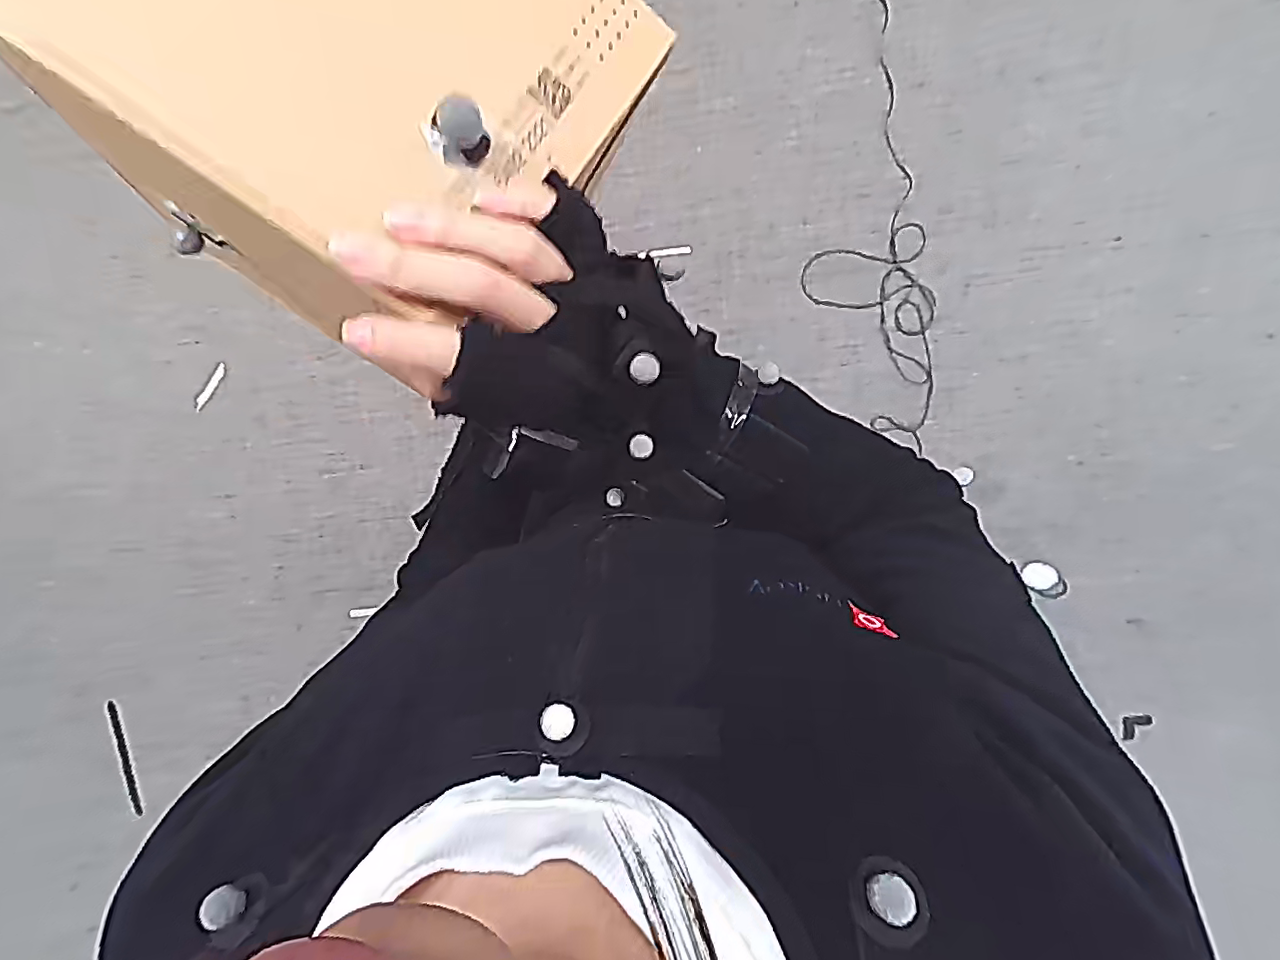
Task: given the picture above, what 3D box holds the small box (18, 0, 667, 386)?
[{"bbox_3d":[-0.116,-0.169,0.283,0.176,0.179,0.168,34,77,-18],"label":"small box"}]
